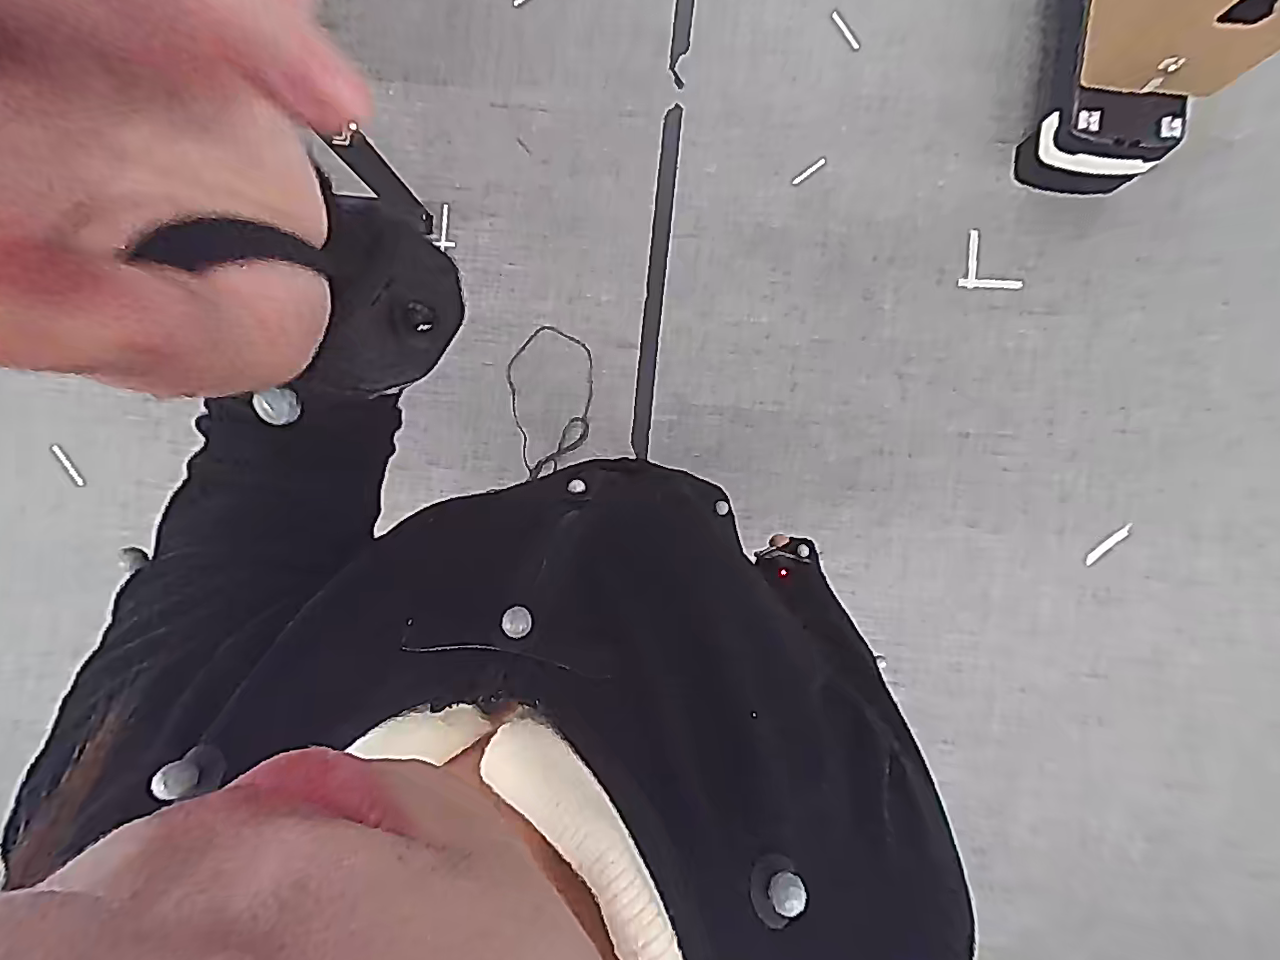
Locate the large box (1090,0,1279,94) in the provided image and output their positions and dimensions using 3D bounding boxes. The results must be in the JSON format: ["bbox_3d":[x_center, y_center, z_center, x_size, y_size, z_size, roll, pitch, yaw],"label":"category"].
[{"bbox_3d":[1.221,-1.109,1.125,0.320,0.320,0.408,6,89,0],"label":"large box"}]

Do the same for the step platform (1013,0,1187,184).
[{"bbox_3d":[1.203,-1.142,1.363,0.286,0.204,0.684,11,90,1],"label":"step platform"}]
